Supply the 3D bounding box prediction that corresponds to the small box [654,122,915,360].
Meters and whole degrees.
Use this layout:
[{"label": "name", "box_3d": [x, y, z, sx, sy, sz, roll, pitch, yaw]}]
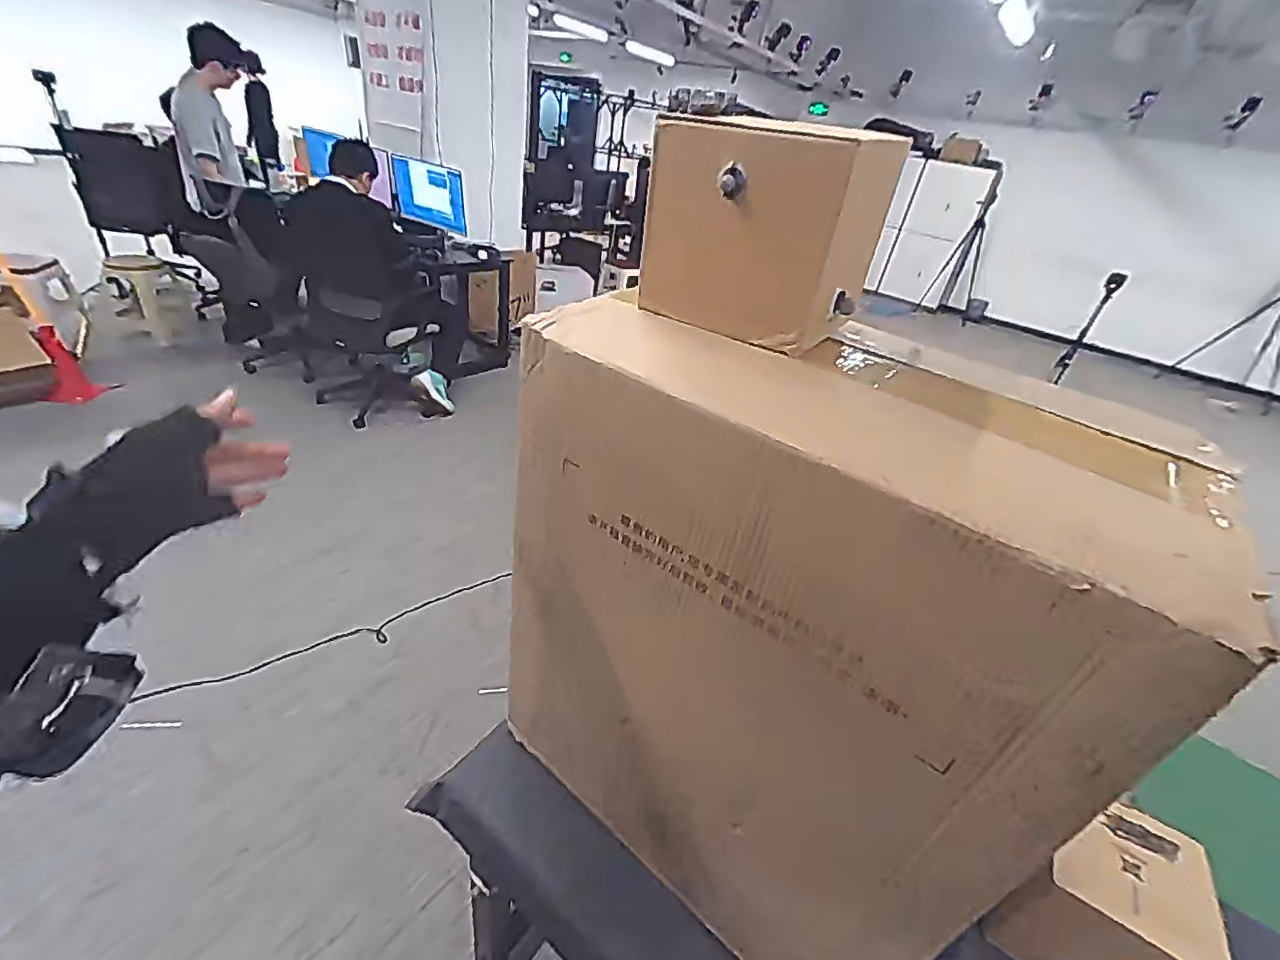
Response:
[{"label": "small box", "box_3d": [0.129, -0.234, 0.523, 0.179, 0.176, 0.168, 27, 41, 24]}]
